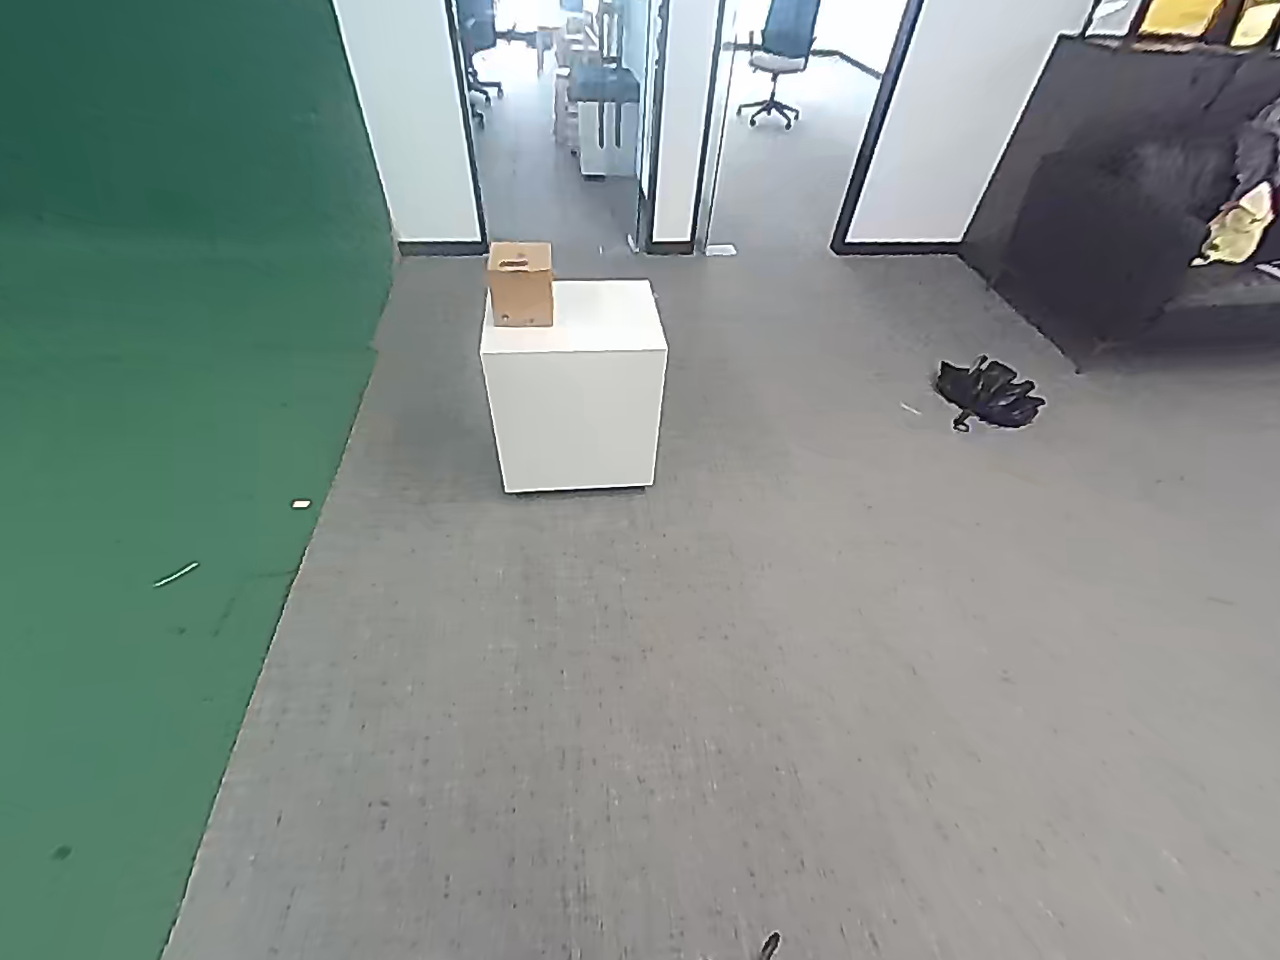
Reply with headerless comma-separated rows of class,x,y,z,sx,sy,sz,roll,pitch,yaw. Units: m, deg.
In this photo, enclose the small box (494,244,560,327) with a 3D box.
small box,-0.314,-0.549,1.534,0.168,0.176,0.179,-1,47,-7
